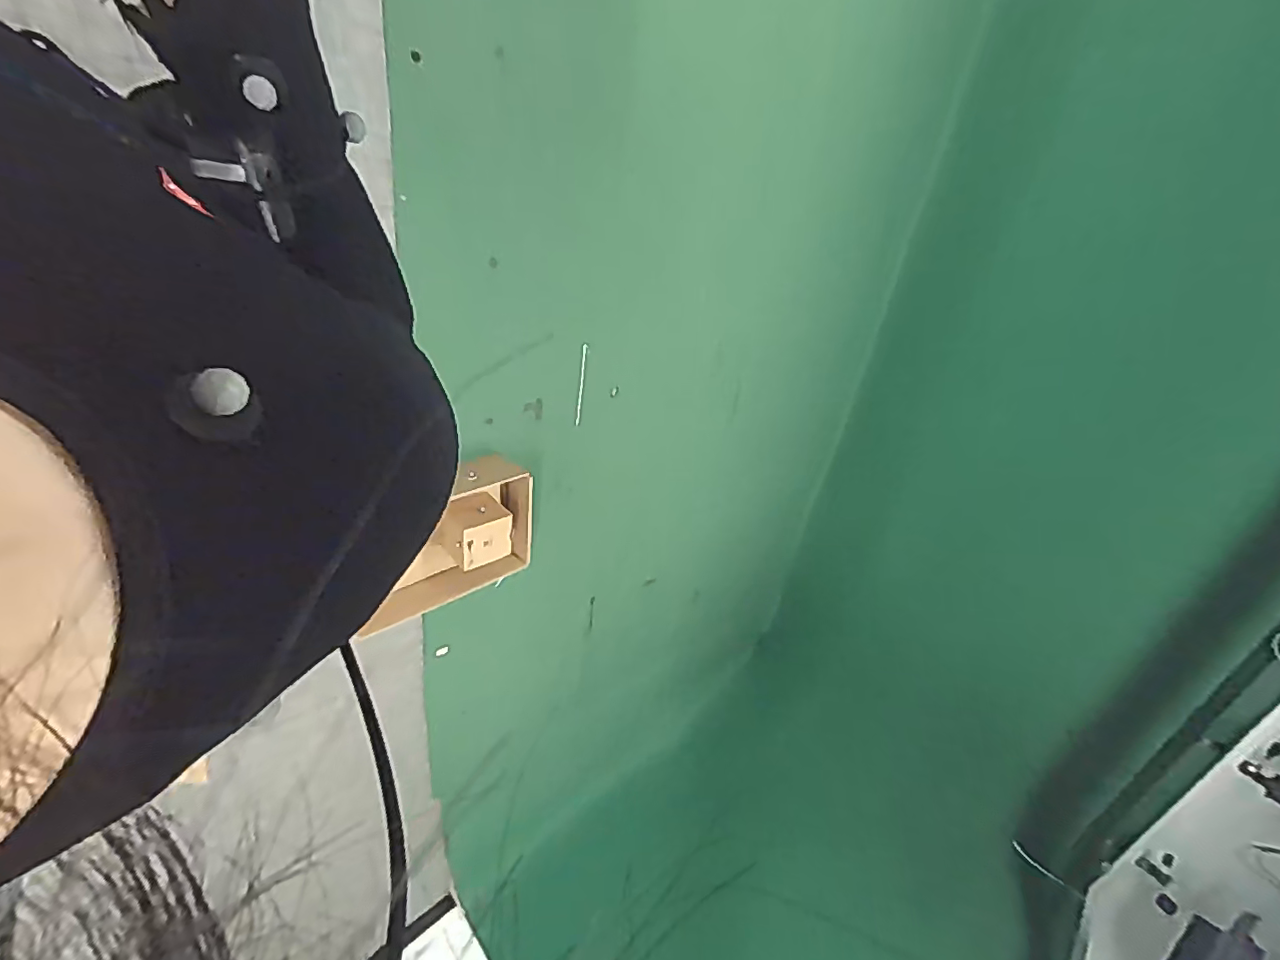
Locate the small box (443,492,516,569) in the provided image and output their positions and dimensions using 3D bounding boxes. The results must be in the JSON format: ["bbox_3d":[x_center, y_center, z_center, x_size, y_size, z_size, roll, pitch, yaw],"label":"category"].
[{"bbox_3d":[-0.535,0.161,1.799,0.179,0.176,0.168,-19,131,-40],"label":"small box"}]
